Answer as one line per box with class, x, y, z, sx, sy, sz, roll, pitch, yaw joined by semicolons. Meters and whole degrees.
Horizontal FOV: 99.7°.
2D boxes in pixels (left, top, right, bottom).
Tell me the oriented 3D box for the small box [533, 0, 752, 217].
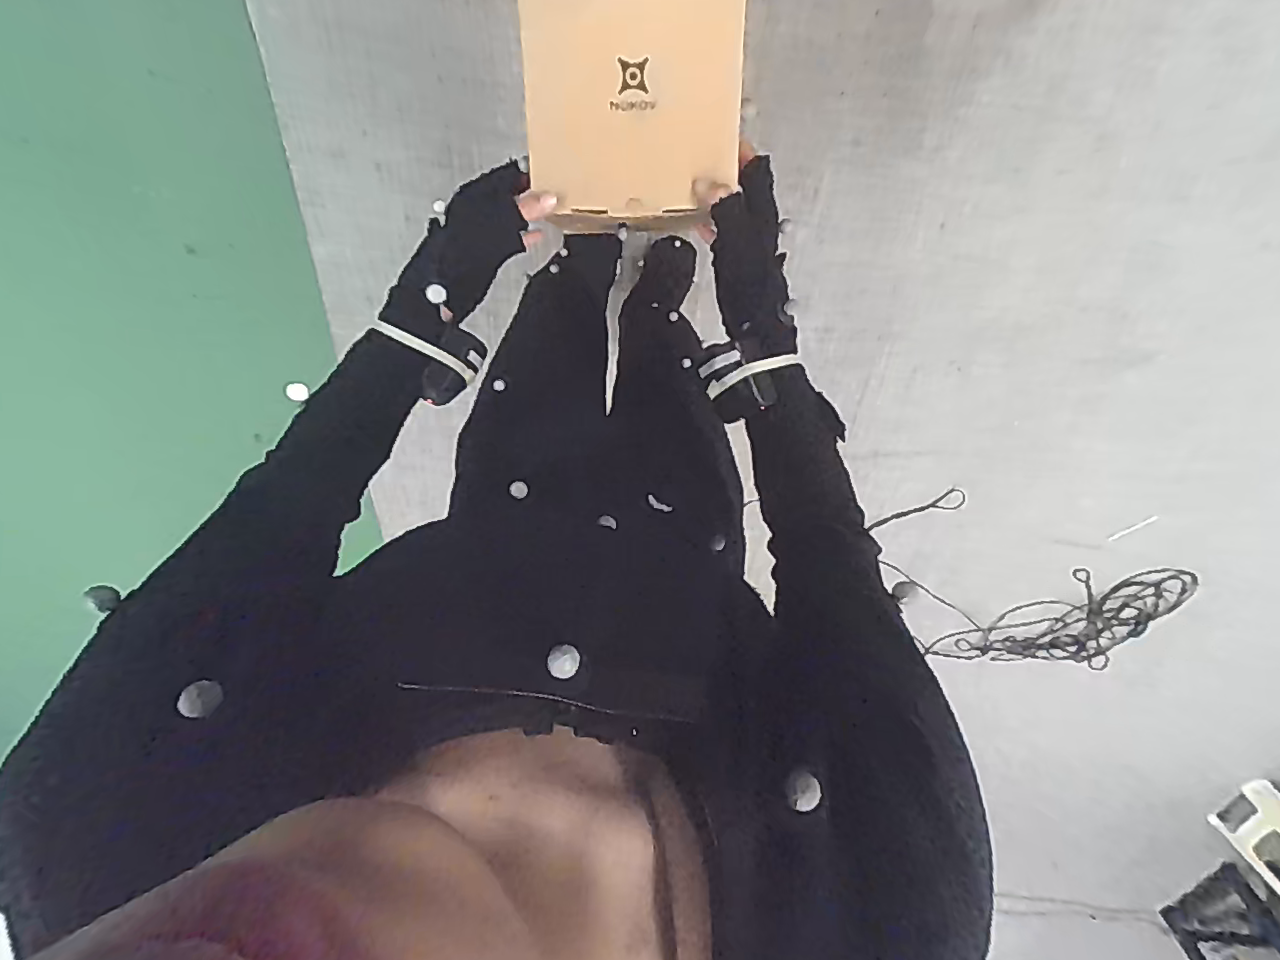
small box;0.001;-0.345;0.490;0.168;0.176;0.179;0;111;0
